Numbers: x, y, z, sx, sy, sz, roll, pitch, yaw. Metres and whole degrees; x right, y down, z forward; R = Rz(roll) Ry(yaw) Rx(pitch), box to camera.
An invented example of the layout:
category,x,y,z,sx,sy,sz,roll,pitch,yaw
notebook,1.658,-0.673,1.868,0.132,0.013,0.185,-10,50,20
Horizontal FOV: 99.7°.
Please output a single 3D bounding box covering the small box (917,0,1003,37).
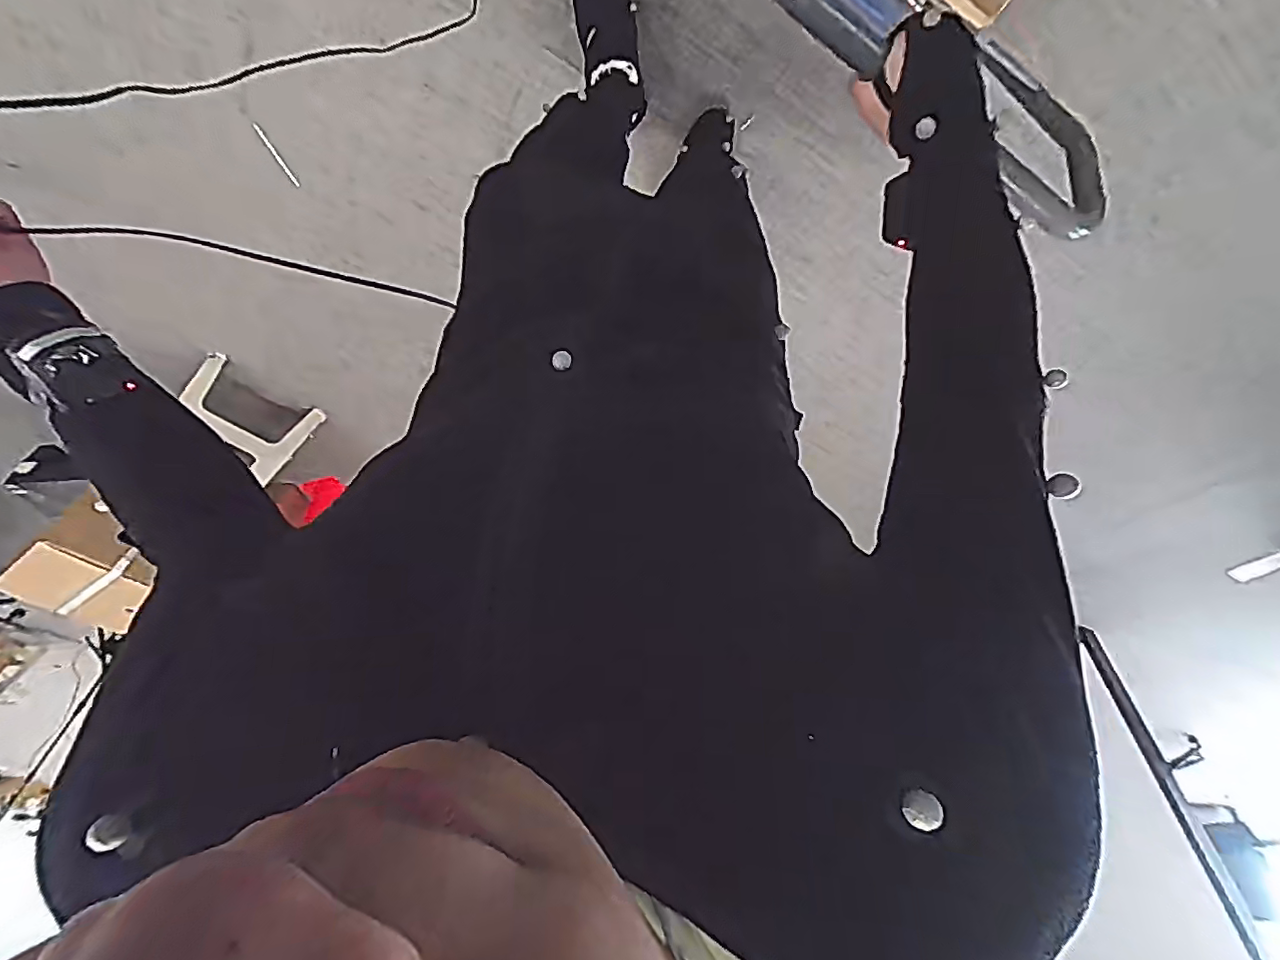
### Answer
category,x,y,z,sx,sy,sz,roll,pitch,yaw
small box,0.482,-0.823,0.812,0.179,0.176,0.168,19,138,-19
